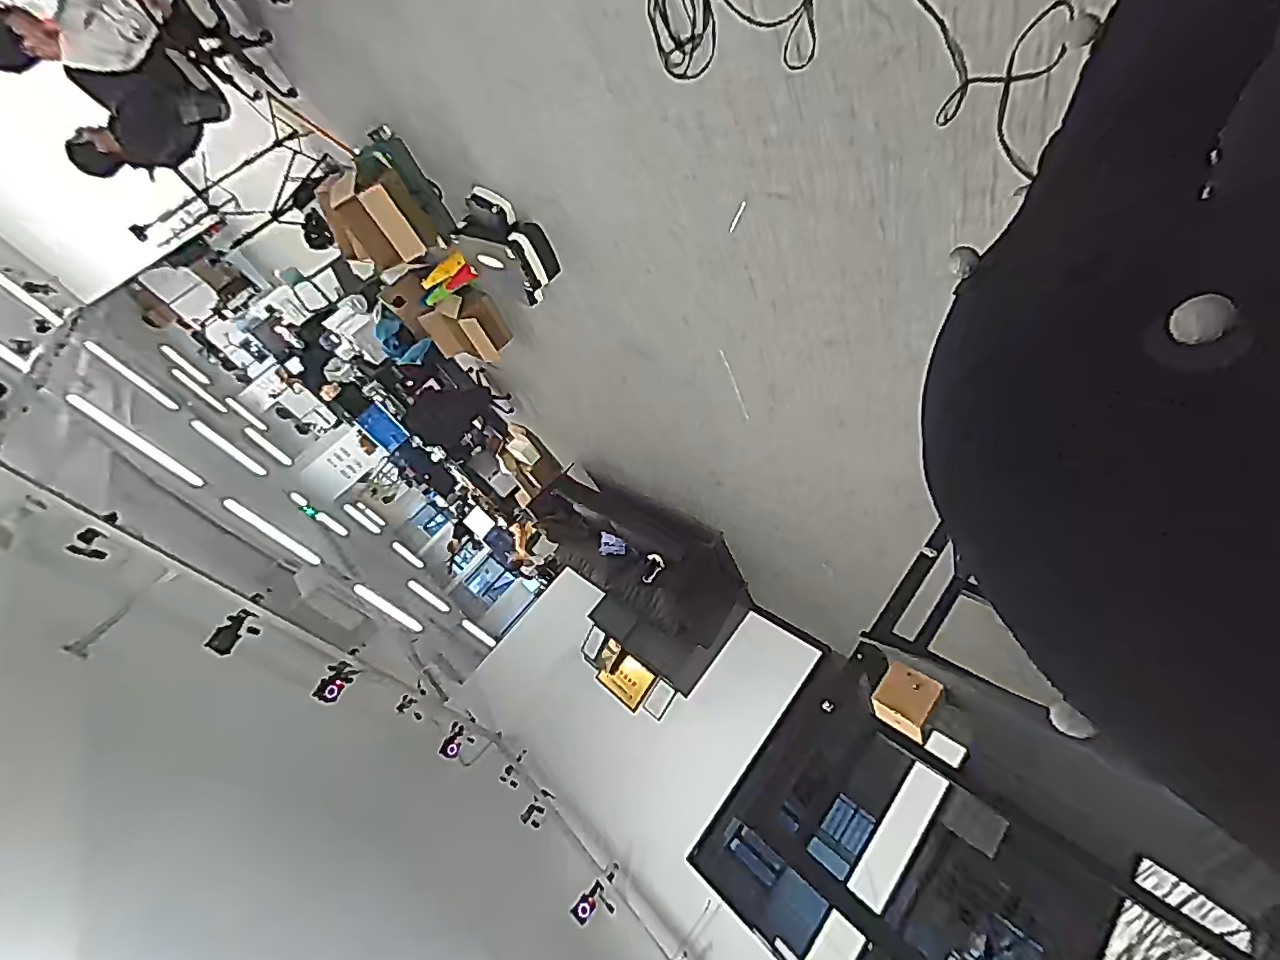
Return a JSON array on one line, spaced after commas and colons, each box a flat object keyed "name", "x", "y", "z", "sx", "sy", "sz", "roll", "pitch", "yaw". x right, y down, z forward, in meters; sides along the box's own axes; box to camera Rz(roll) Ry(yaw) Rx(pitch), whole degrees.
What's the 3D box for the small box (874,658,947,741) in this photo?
[{"name": "small box", "x": 0.921, "y": 0.741, "z": 1.832, "sx": 0.168, "sy": 0.176, "sz": 0.179, "roll": 25, "pitch": 156, "yaw": 44}]
